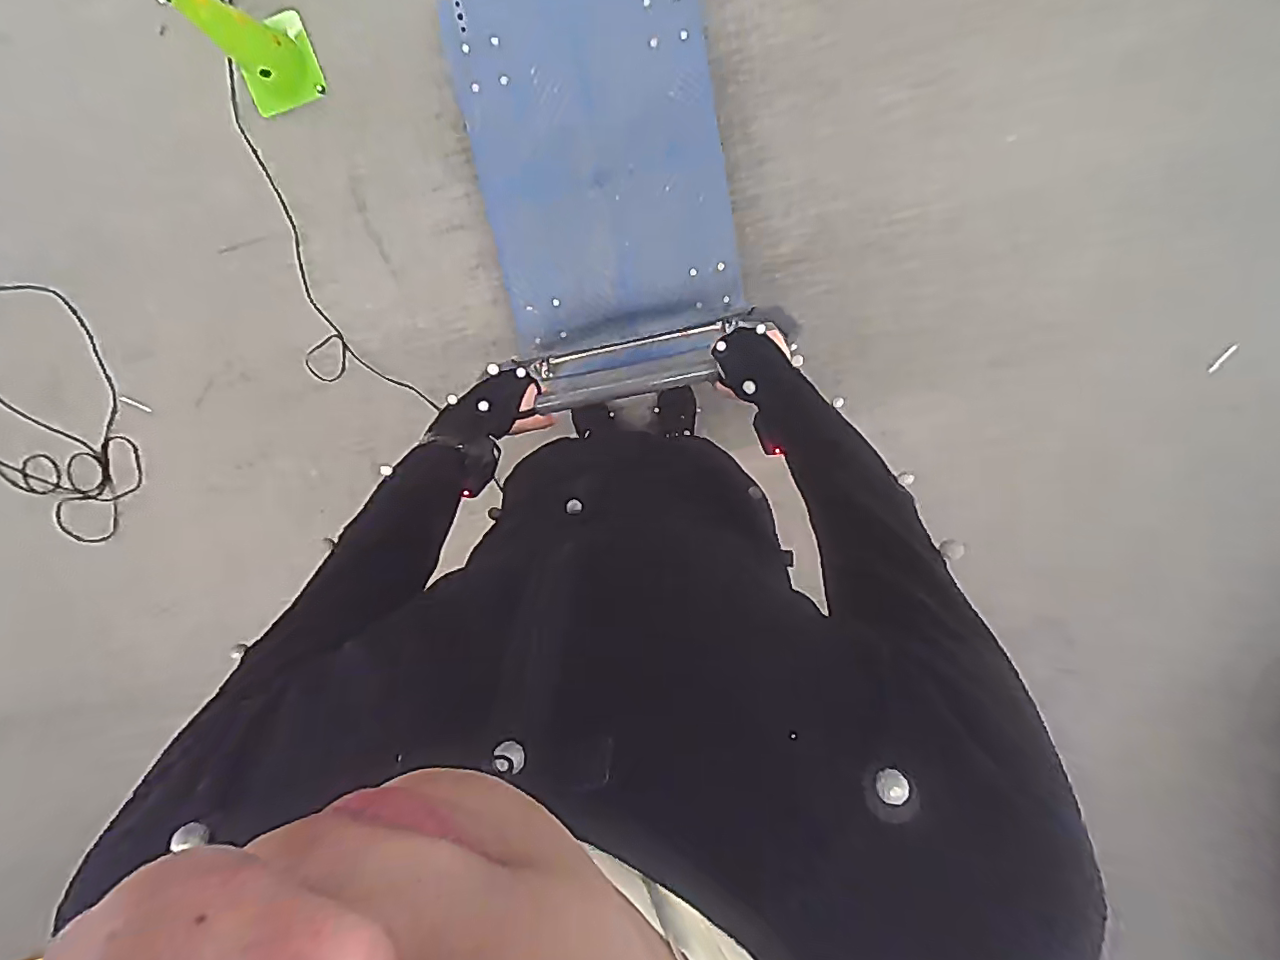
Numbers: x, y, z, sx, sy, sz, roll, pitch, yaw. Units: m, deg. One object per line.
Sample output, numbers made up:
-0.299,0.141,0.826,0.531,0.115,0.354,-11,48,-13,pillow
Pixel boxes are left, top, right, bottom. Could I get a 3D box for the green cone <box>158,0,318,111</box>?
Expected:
-0.953,-1.034,1.214,0.202,0.368,0.200,-16,103,7,green cone
